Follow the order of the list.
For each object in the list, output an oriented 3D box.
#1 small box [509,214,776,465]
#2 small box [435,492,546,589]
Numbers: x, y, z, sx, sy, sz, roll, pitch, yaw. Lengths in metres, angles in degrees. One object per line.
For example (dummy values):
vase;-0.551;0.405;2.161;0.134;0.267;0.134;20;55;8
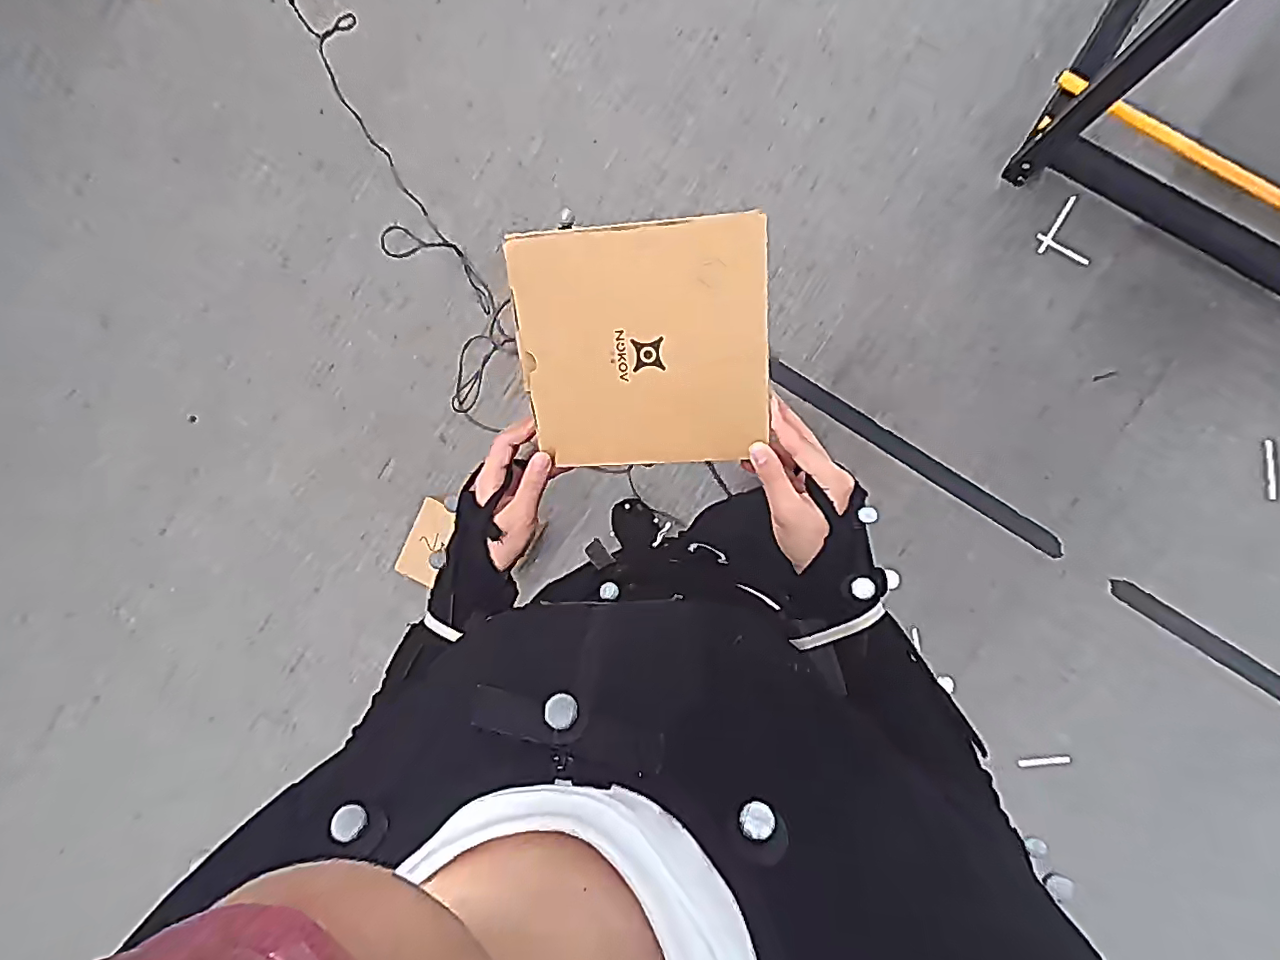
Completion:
small box;0.015;-0.121;0.449;0.179;0.176;0.168;-2;113;10
small box;-0.354;0.137;1.319;0.179;0.176;0.168;31;93;4
